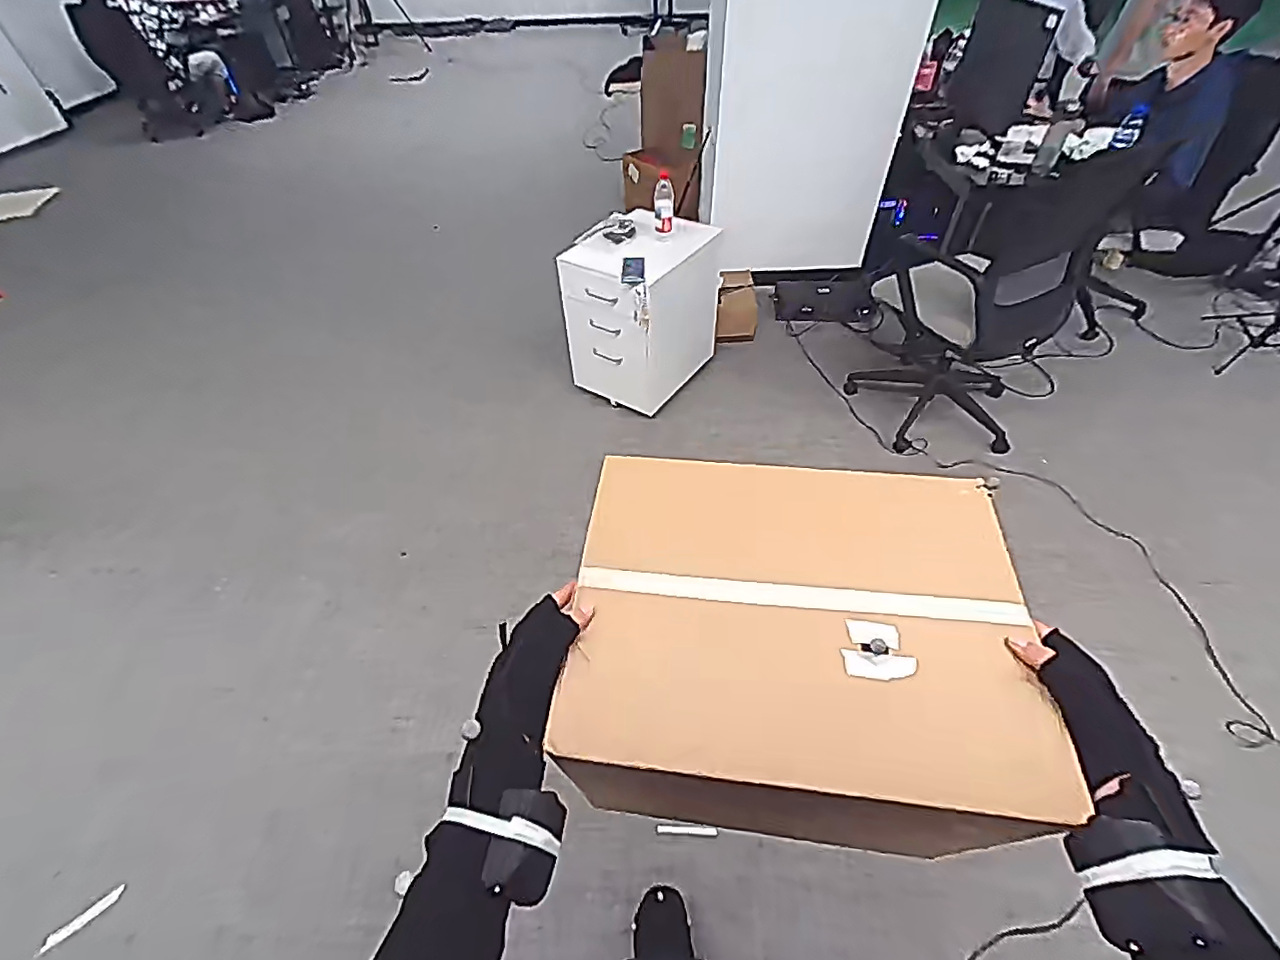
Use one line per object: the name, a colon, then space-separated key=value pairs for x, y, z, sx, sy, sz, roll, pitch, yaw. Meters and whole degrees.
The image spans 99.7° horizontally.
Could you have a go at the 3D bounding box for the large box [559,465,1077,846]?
large box: x=0.150 y=0.205 z=0.625 sx=0.408 sy=0.320 sz=0.320 roll=4 pitch=54 yaw=6
